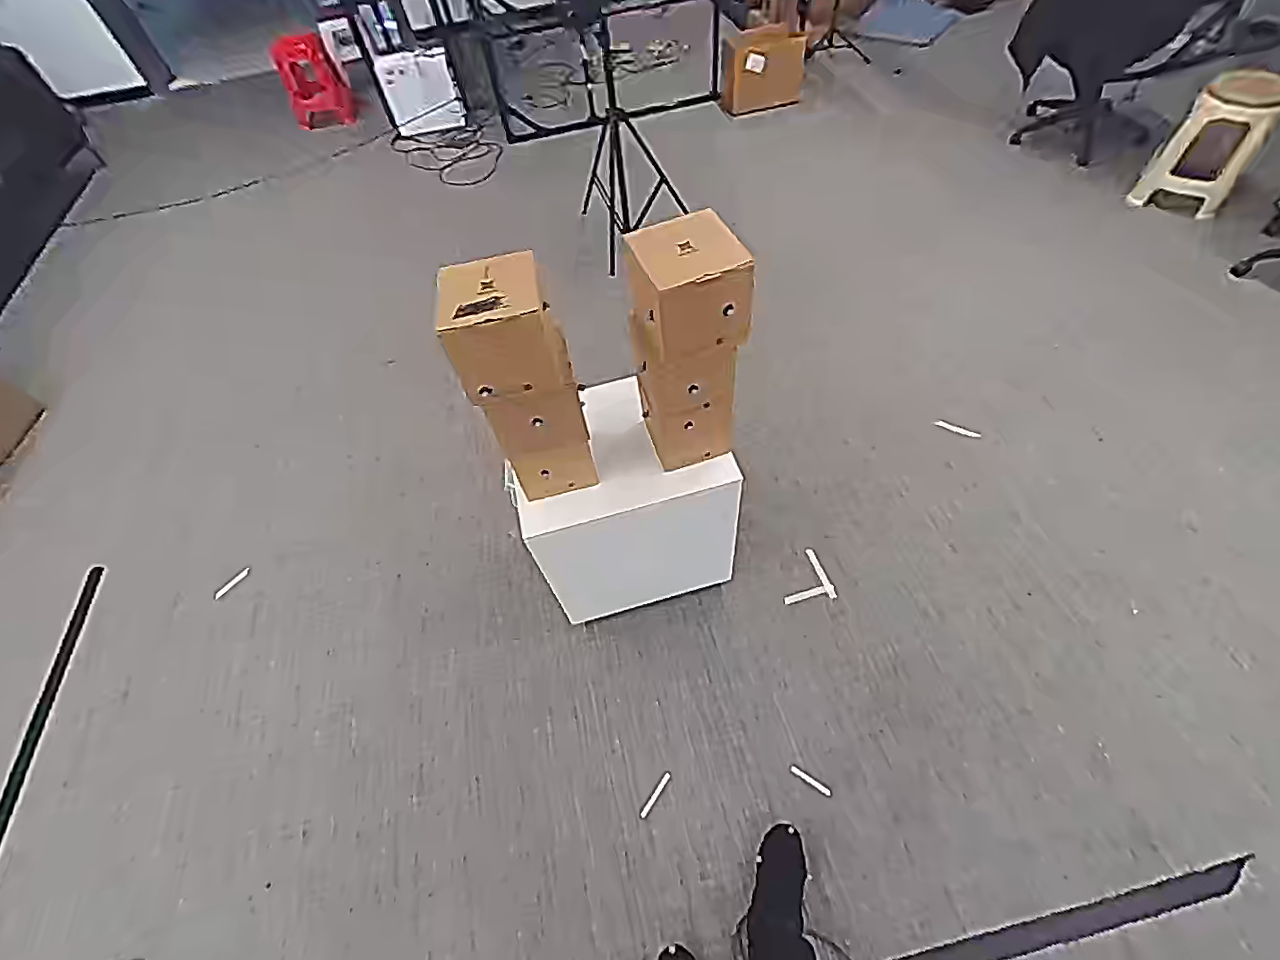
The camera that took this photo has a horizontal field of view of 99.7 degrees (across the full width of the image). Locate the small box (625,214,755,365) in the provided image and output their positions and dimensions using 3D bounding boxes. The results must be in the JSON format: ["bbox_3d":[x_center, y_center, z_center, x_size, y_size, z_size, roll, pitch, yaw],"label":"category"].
[{"bbox_3d":[0.086,-0.324,0.946,0.168,0.176,0.179,-20,55,-7],"label":"small box"}]

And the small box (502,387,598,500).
[{"bbox_3d":[-0.197,-0.073,1.209,0.168,0.176,0.179,-14,55,-4],"label":"small box"}]

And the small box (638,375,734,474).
[{"bbox_3d":[0.103,-0.144,1.220,0.168,0.176,0.179,-17,55,-4],"label":"small box"}]

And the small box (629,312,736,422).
[{"bbox_3d":[0.086,-0.237,1.085,0.168,0.176,0.179,-16,55,-4],"label":"small box"}]

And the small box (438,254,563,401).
[{"bbox_3d":[-0.235,-0.254,0.936,0.168,0.176,0.179,-12,54,-1],"label":"small box"}]
